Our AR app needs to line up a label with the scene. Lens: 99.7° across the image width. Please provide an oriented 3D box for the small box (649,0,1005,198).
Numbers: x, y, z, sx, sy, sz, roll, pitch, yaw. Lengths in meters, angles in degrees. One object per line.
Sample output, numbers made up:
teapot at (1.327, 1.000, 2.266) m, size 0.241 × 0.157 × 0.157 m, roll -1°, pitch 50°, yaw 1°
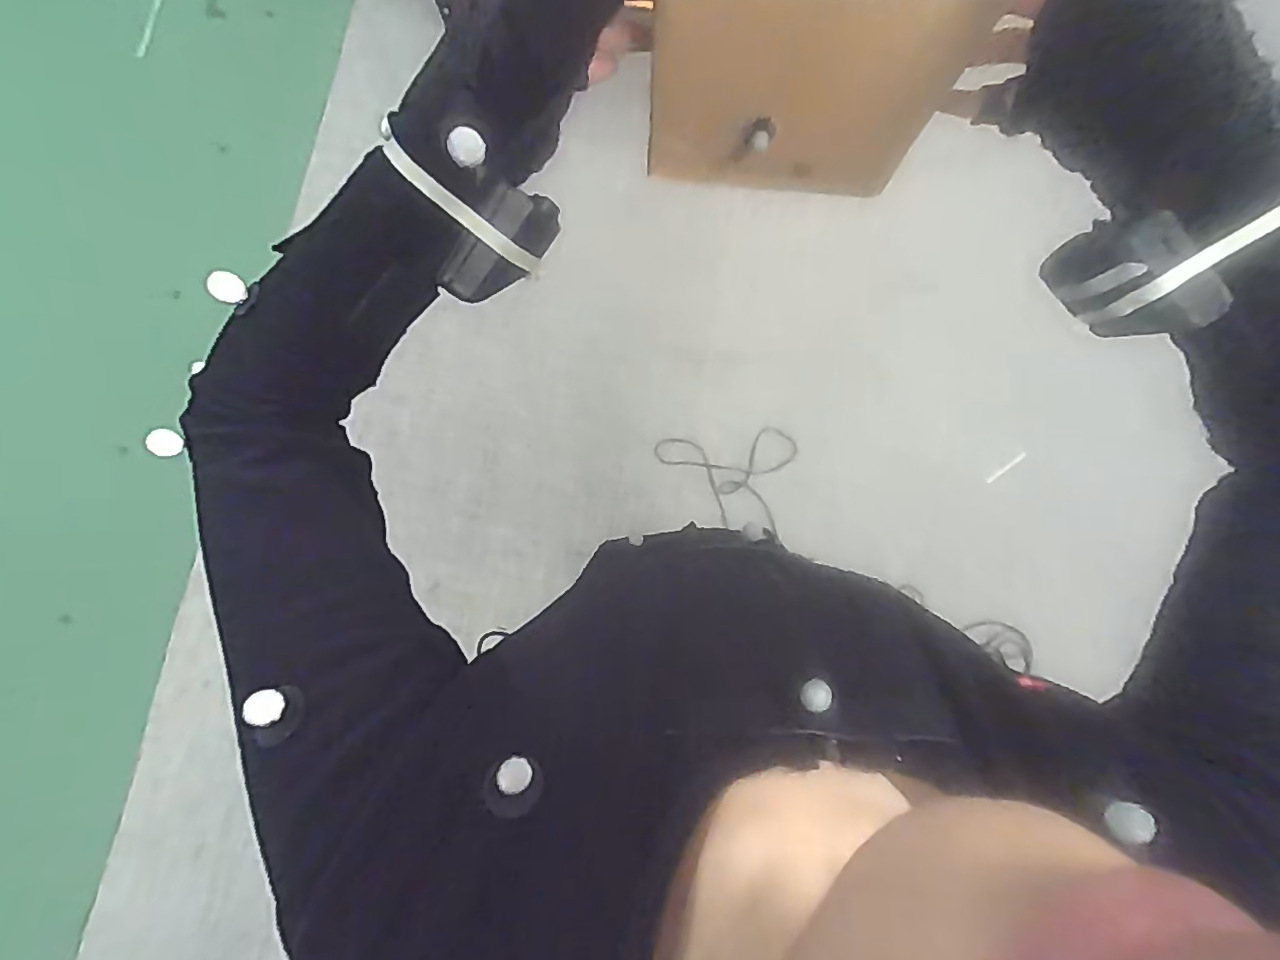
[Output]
small box at (0.094, -0.304, 0.319) m, size 0.168 × 0.176 × 0.179 m, roll 4°, pitch 84°, yaw 1°
